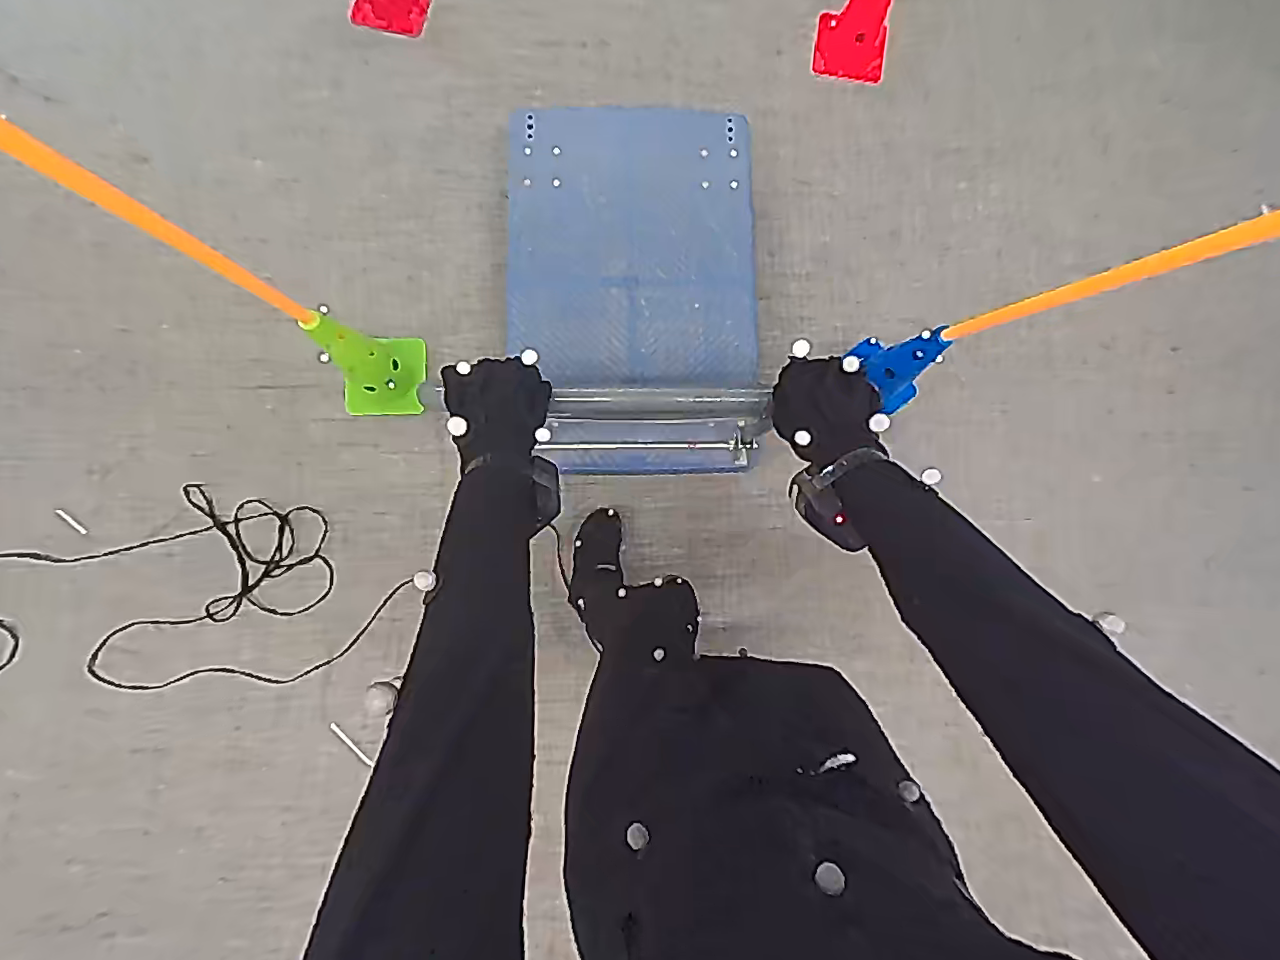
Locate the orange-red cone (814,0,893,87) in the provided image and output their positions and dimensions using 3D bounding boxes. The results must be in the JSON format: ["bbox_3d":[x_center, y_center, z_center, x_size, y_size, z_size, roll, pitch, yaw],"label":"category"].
[{"bbox_3d":[0.607,-1.240,1.371,0.198,0.360,0.199,11,84,0],"label":"orange-red cone"}]
